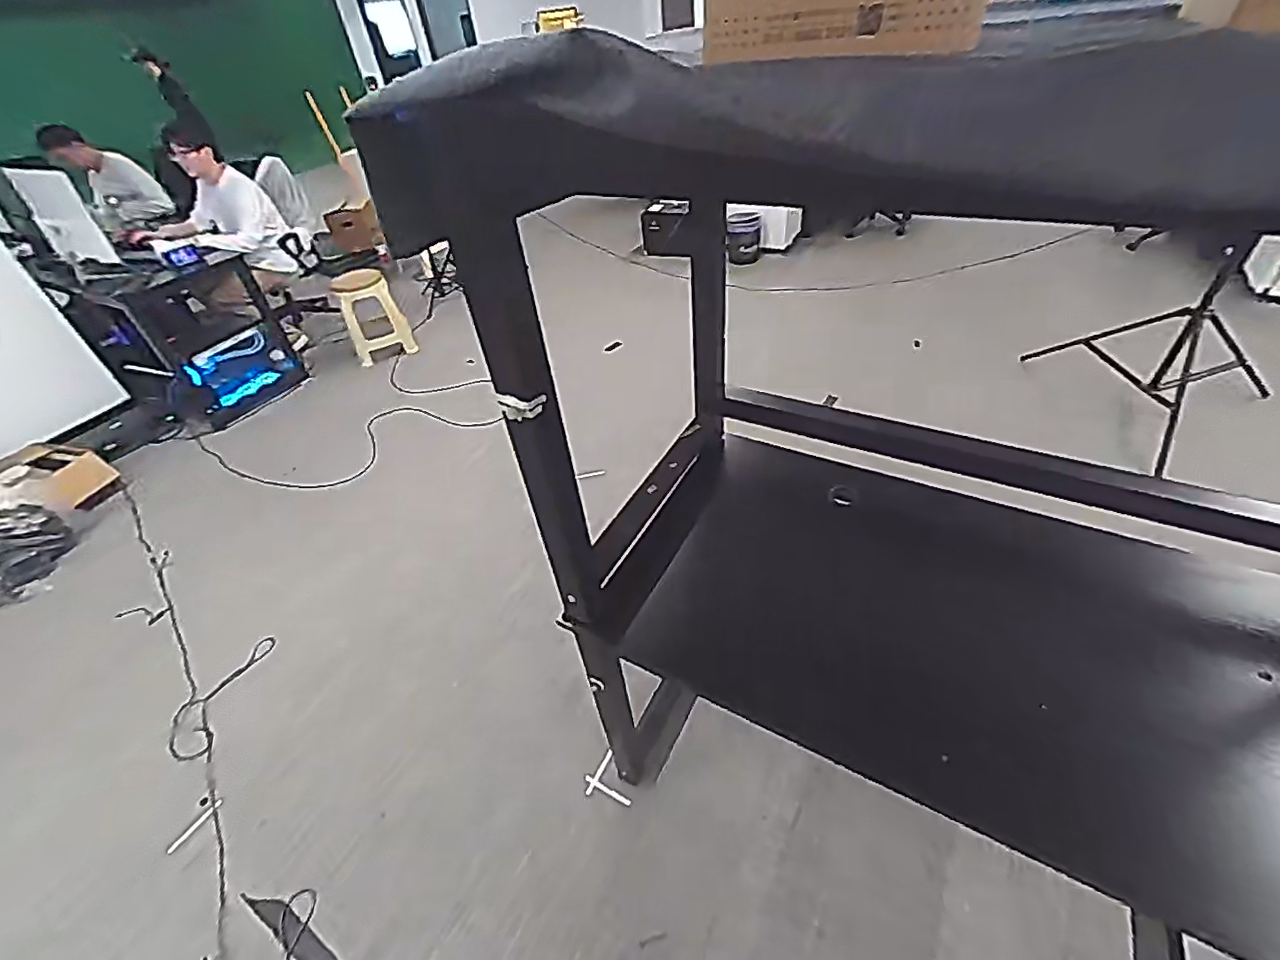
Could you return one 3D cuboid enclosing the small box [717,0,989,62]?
[{"bbox_3d":[0.147,-0.381,0.347,0.168,0.176,0.179,11,43,19],"label":"small box"}]

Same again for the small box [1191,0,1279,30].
[{"bbox_3d":[0.404,-0.316,0.240,0.168,0.176,0.179,17,45,25],"label":"small box"}]
